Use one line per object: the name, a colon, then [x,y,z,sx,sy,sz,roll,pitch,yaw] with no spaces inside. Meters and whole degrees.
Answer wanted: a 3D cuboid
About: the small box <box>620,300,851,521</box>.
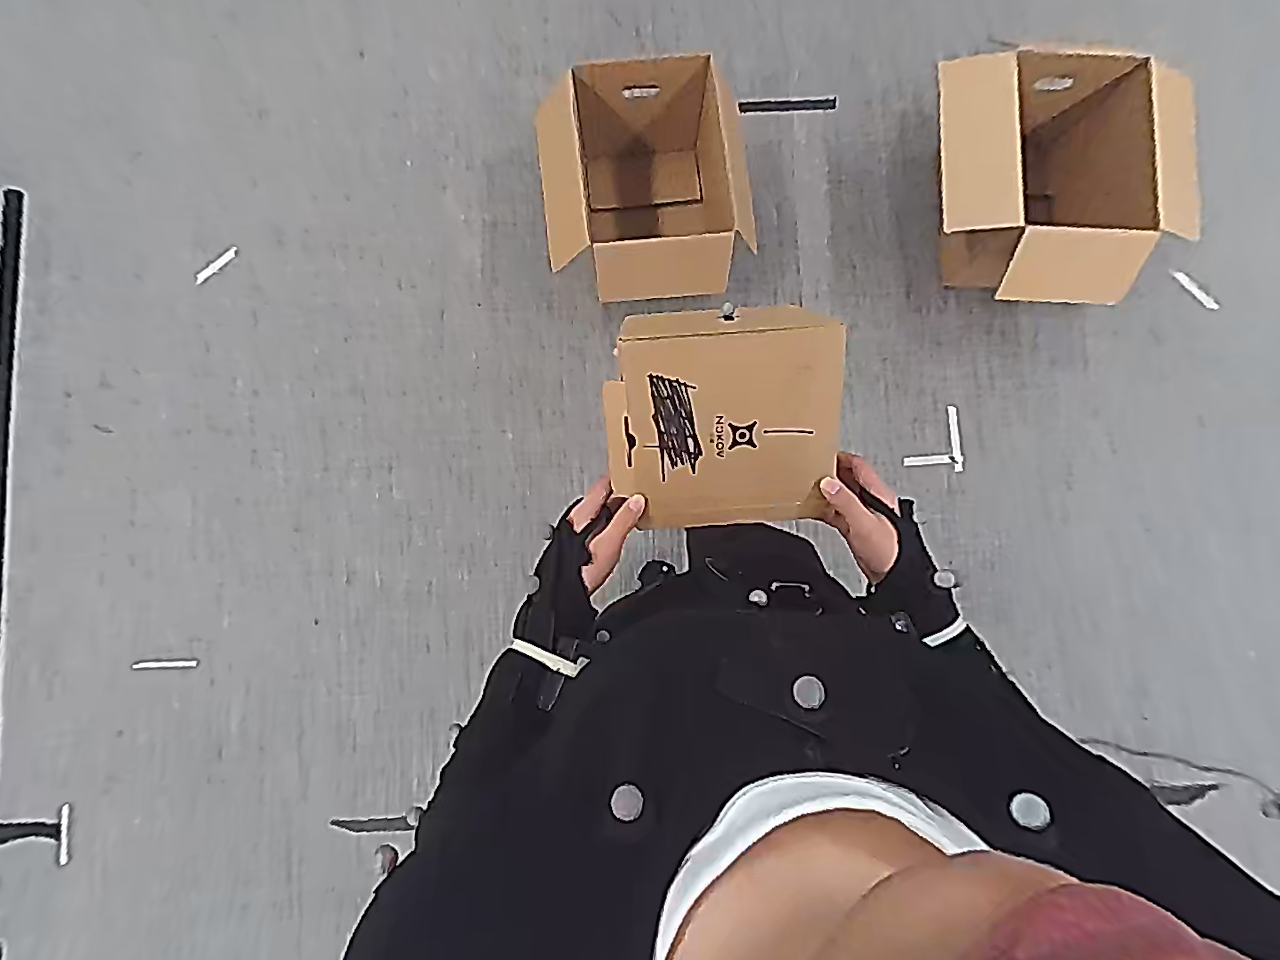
small box: [0.078,-0.074,0.510,0.179,0.176,0.168,-4,113,1]
